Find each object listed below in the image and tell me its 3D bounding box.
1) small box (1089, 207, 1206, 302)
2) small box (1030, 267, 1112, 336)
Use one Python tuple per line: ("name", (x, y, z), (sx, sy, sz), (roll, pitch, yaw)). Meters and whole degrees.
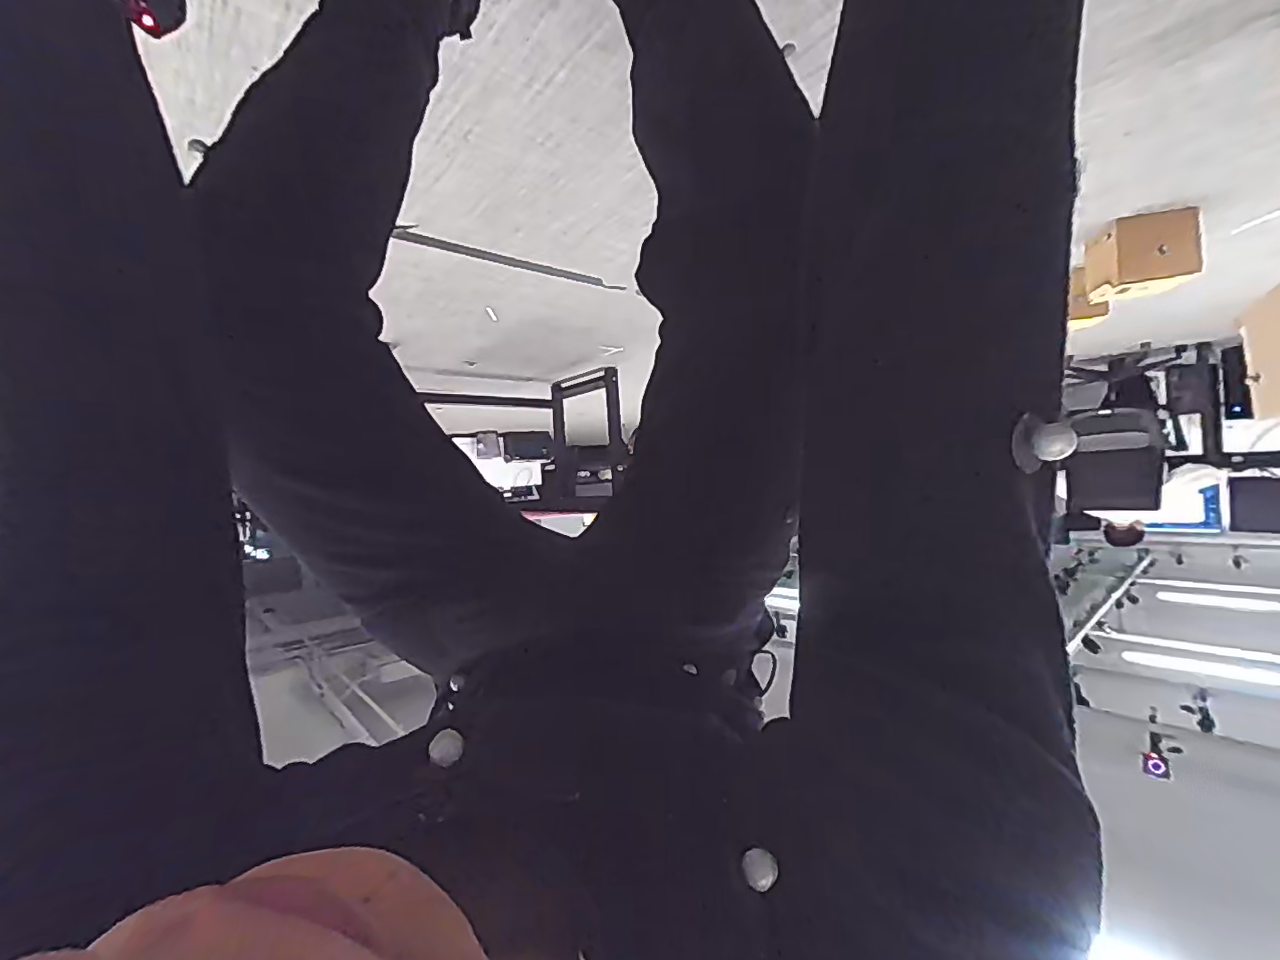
("small box", (1.333, -0.593, 1.434), (0.179, 0.176, 0.168), (-4, 180, 17))
("small box", (1.439, -0.600, 1.816), (0.179, 0.176, 0.168), (-5, 179, 24))
